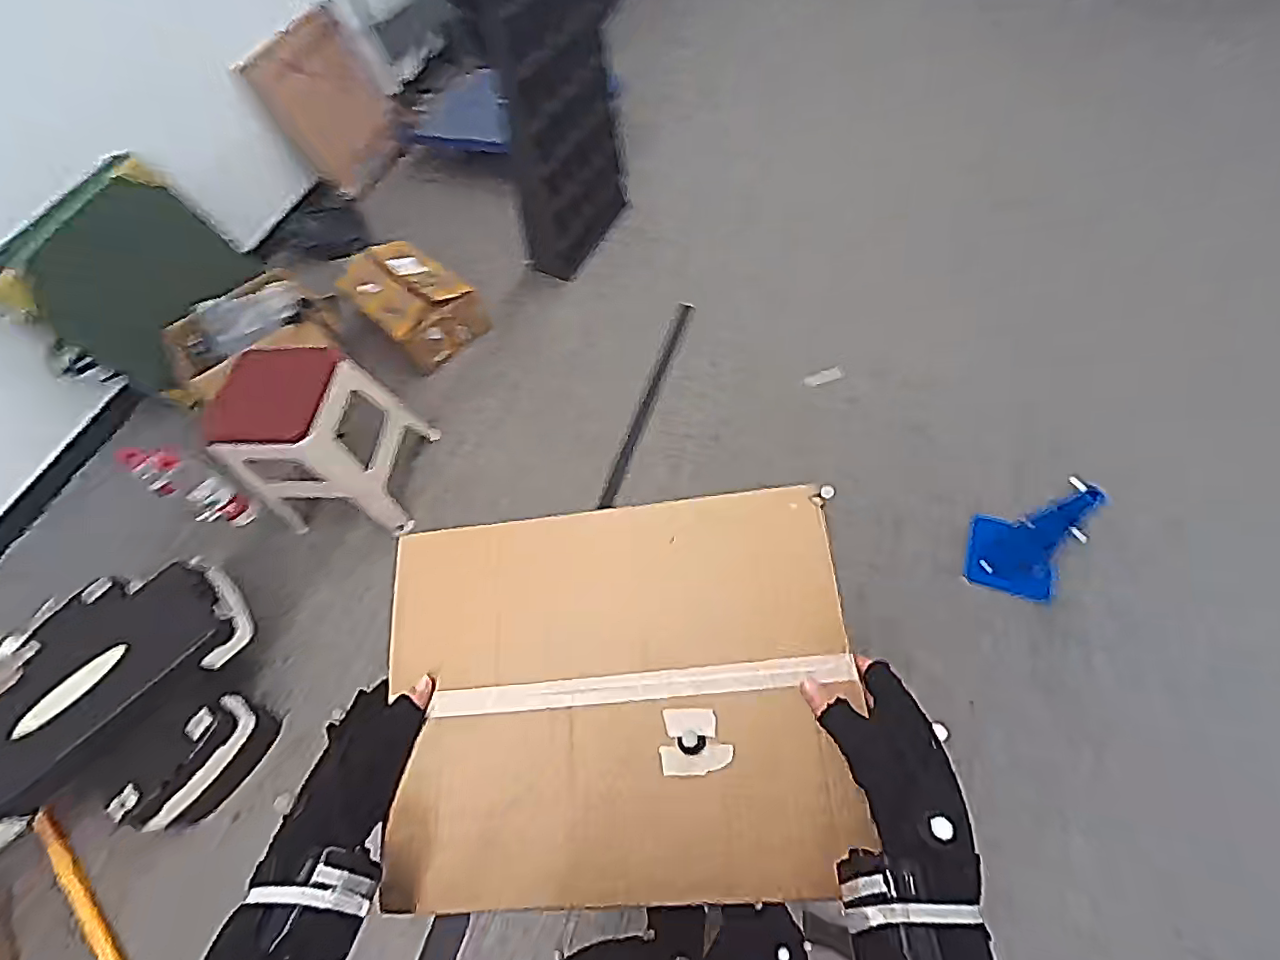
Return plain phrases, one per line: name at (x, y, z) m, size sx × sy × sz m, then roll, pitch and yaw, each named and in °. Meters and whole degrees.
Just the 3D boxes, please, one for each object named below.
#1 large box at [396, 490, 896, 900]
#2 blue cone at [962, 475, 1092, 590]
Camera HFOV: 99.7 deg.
large box at (0.006, 0.224, 0.606) m, size 0.408 × 0.320 × 0.320 m, roll -6°, pitch 71°, yaw 7°
blue cone at (0.925, 0.103, 1.263) m, size 0.193 × 0.380 × 0.192 m, roll 17°, pitch 64°, yaw 16°
